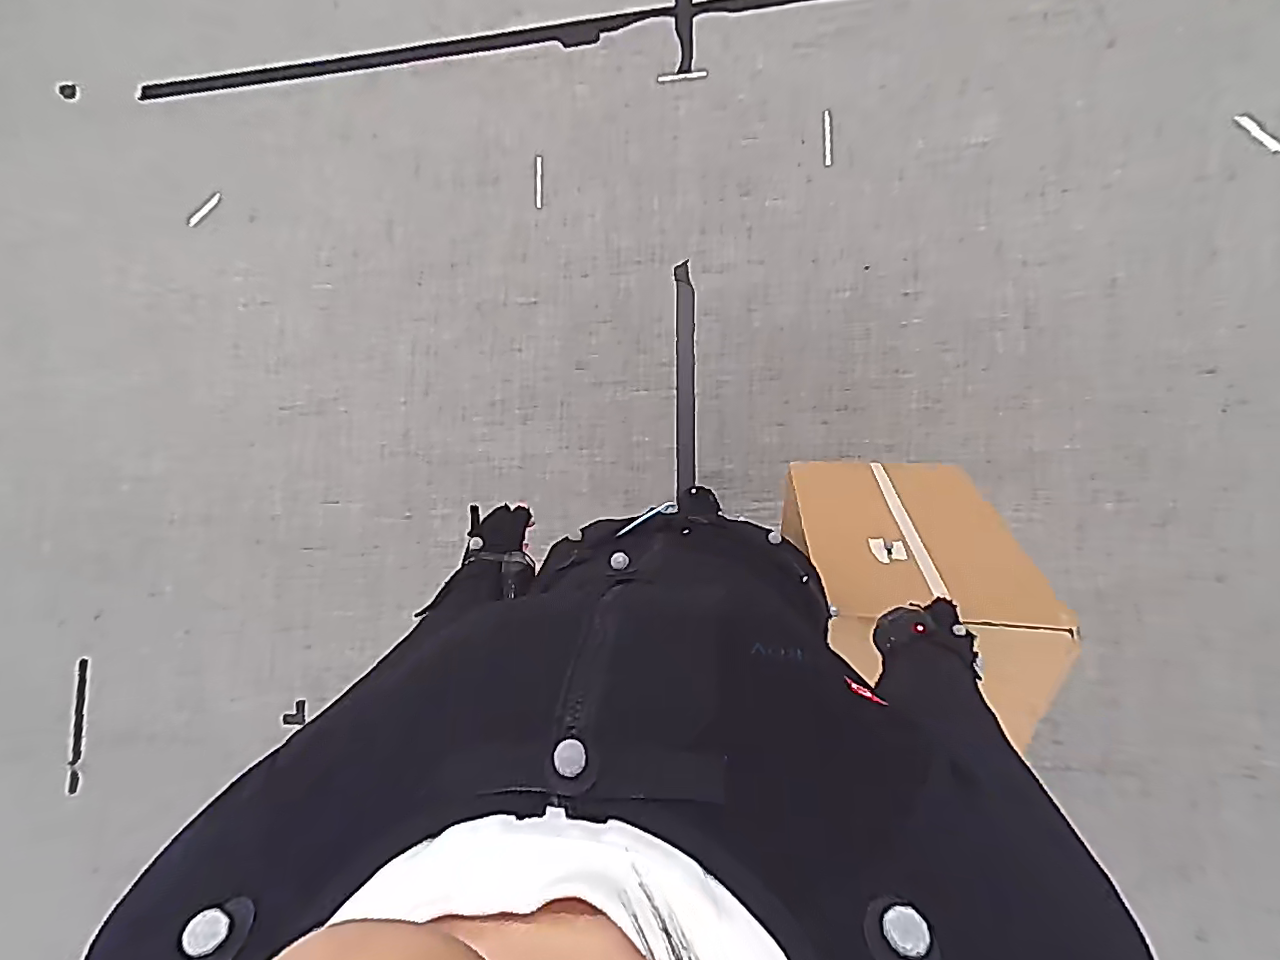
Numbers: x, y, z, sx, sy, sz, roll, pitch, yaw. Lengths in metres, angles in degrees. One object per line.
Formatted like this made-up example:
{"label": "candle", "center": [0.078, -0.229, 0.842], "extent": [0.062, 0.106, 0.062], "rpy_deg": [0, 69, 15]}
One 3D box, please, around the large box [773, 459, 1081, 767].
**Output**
{"label": "large box", "center": [0.417, 0.200, 0.924], "extent": [0.320, 0.408, 0.320], "rpy_deg": [2, 123, 7]}
